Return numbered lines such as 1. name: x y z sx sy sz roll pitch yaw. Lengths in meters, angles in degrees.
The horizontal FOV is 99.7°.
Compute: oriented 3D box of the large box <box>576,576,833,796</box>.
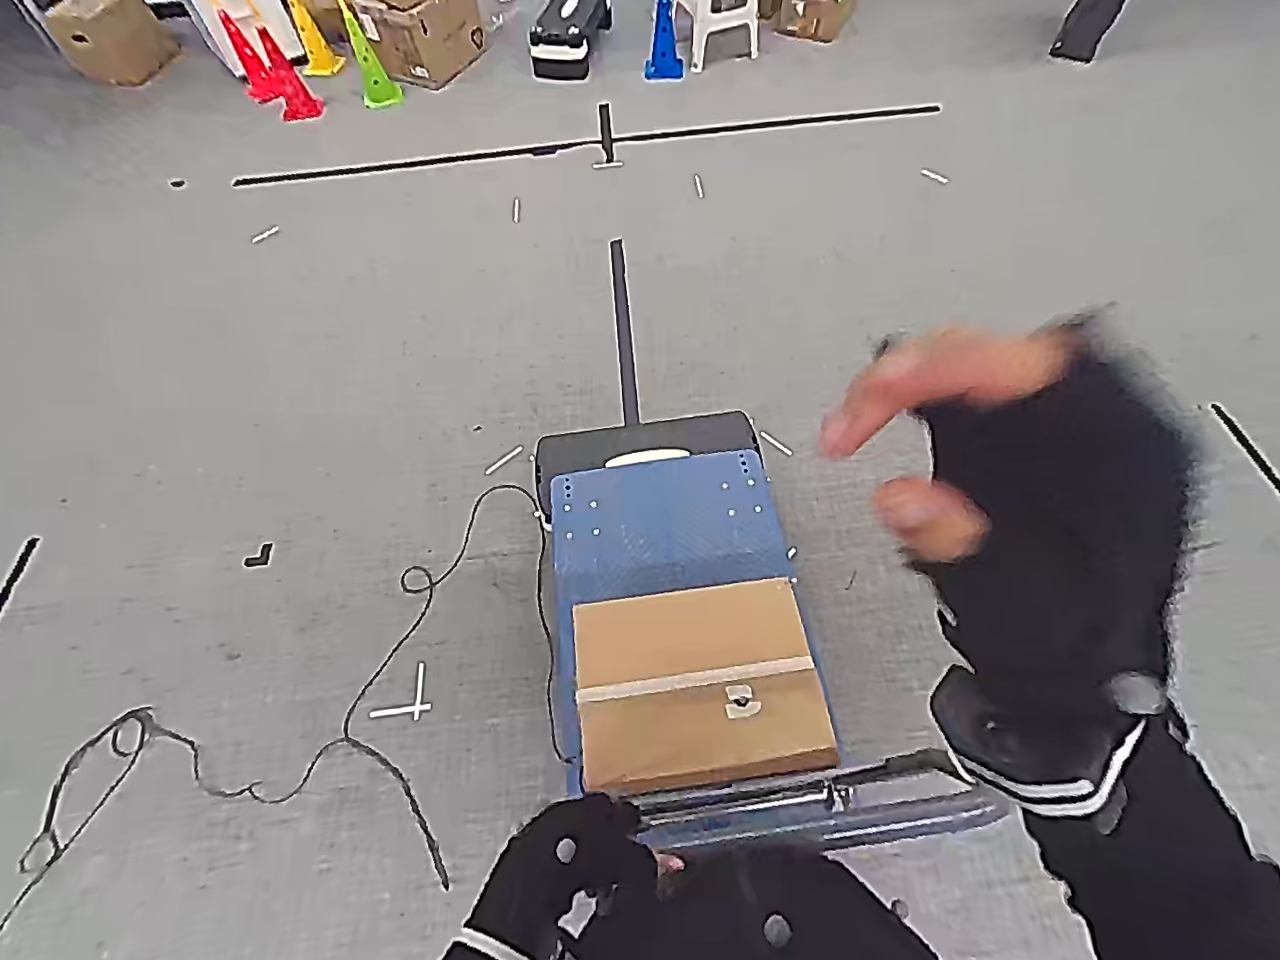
1. large box: 0.100 0.415 1.065 0.408 0.320 0.320 -8 60 -3
